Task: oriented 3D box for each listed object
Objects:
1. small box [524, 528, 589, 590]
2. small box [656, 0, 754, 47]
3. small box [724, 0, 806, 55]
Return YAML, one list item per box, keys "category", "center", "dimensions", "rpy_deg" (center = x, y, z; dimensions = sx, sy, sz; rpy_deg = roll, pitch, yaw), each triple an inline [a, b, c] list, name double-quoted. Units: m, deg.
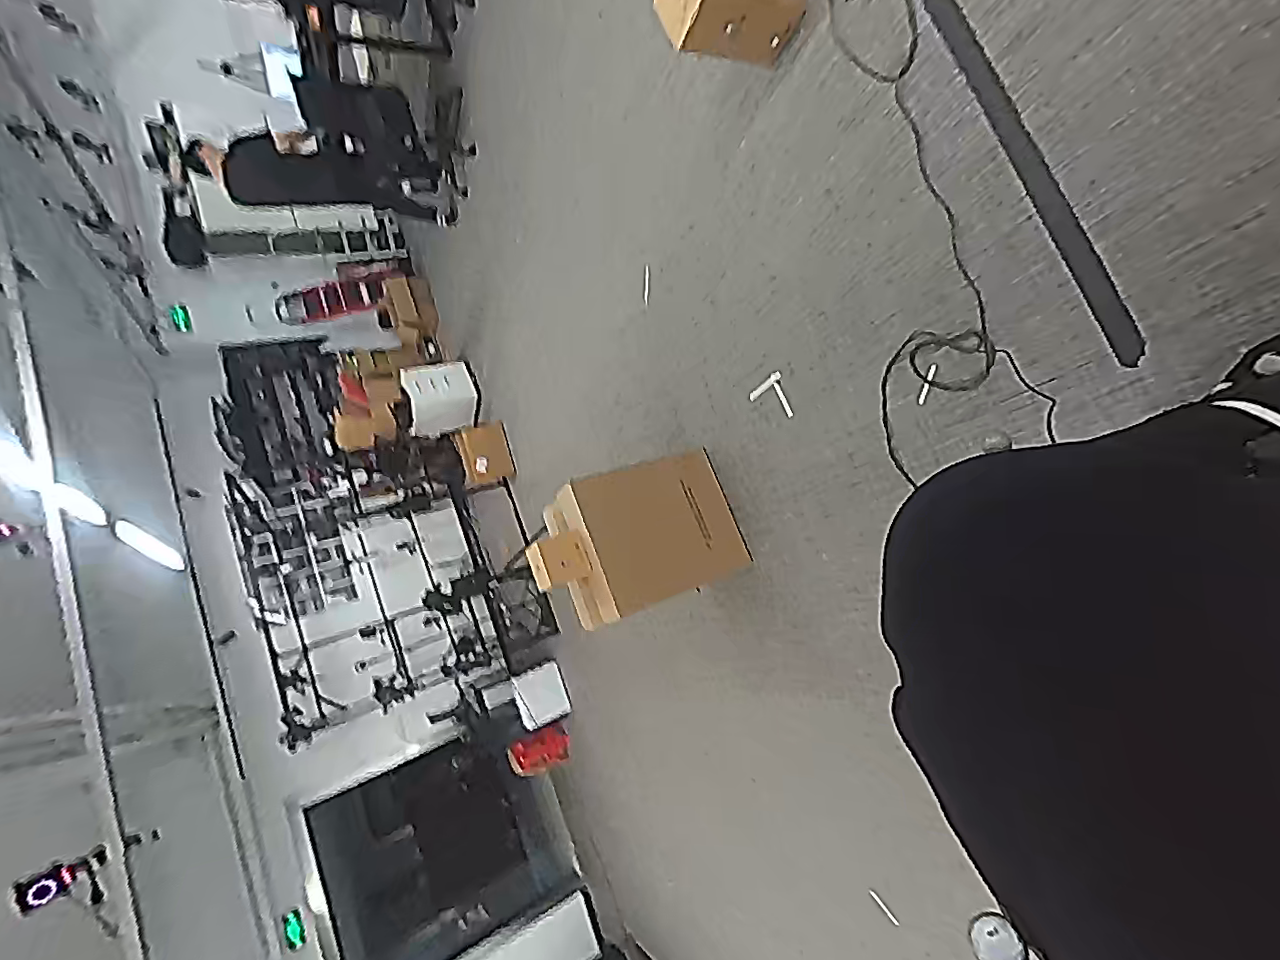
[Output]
- category: "small box"
  center: [-0.304, 0.290, 1.987]
  dimensions: [0.179, 0.176, 0.168]
  rpy_deg: [-37, 73, 60]
- category: "small box"
  center: [0.162, -1.225, 1.345]
  dimensions: [0.168, 0.176, 0.179]
  rpy_deg: [-41, 69, 60]
- category: "small box"
  center: [0.301, -1.266, 1.425]
  dimensions: [0.168, 0.176, 0.179]
  rpy_deg: [-38, 72, 60]
